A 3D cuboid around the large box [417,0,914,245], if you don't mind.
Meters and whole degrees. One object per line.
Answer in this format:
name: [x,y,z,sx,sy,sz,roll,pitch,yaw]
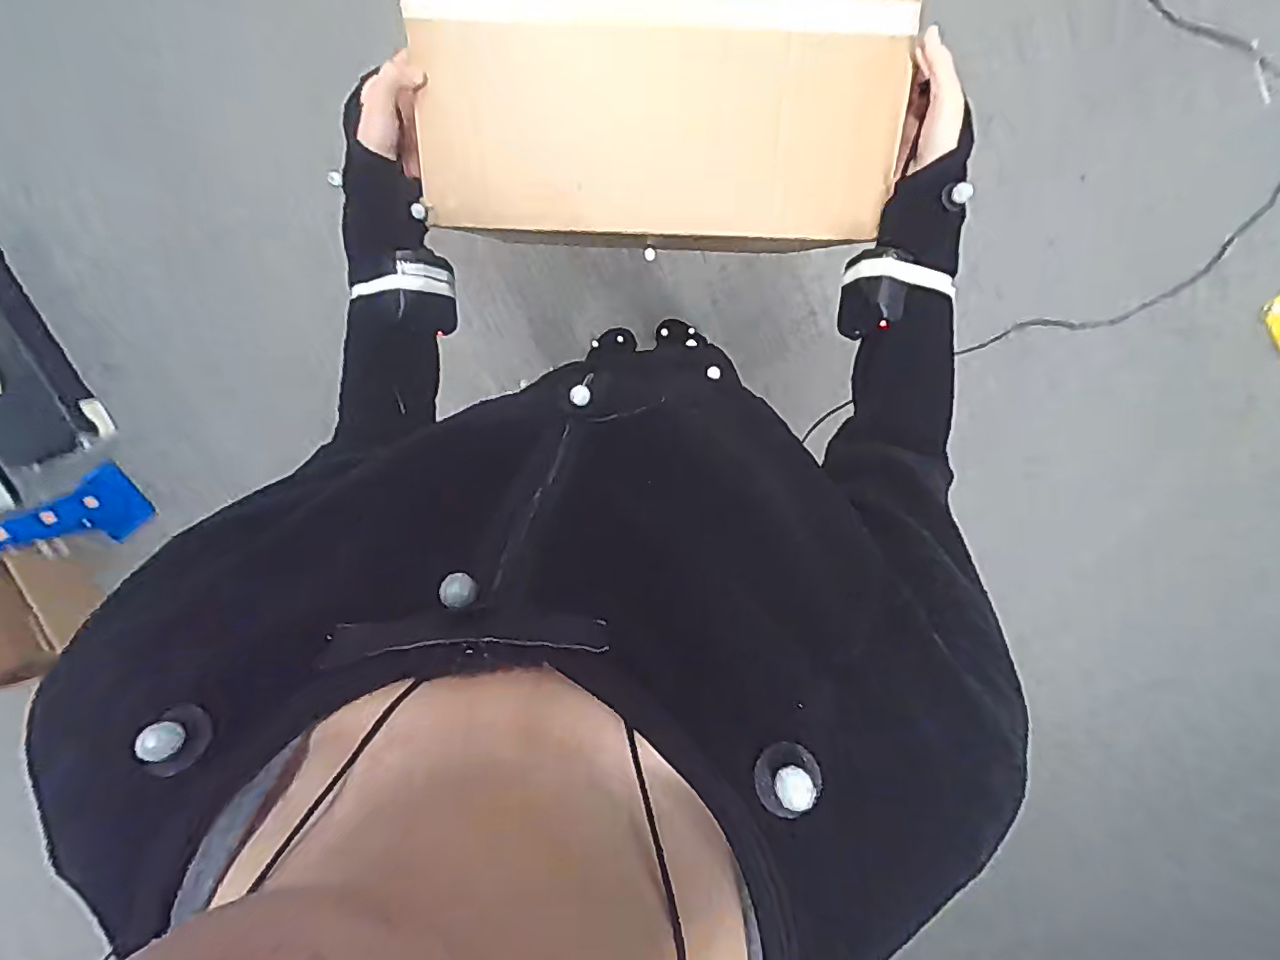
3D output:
large box: [0.020,-0.423,0.573,0.408,0.320,0.320,2,111,-1]
